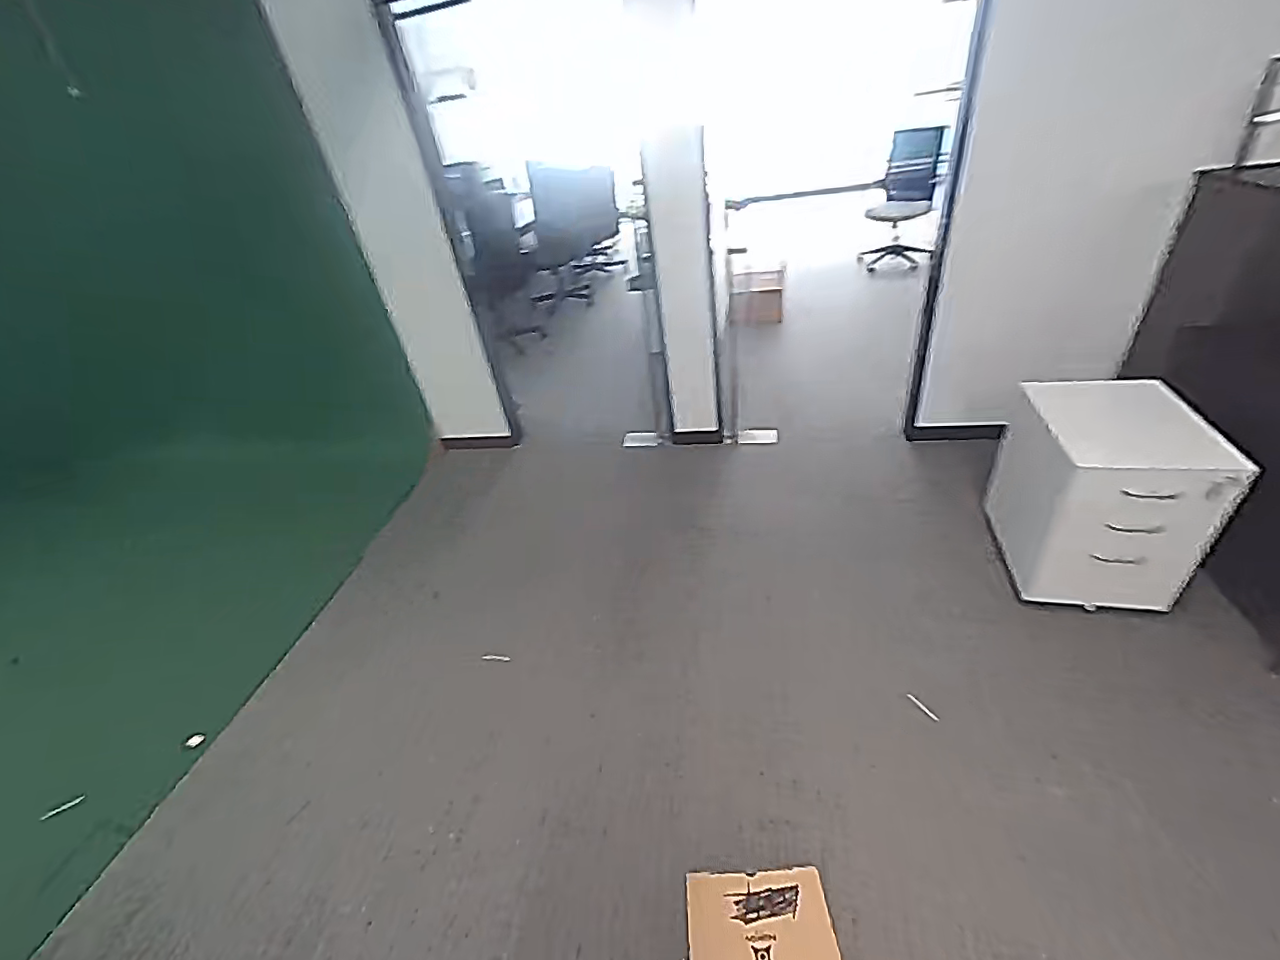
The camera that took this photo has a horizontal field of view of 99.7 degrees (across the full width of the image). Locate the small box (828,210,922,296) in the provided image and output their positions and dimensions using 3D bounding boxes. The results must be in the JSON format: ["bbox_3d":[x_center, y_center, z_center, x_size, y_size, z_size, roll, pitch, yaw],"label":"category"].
[{"bbox_3d":[0.744,-0.714,1.712,0.168,0.176,0.179,-29,-8,-29],"label":"small box"}]
